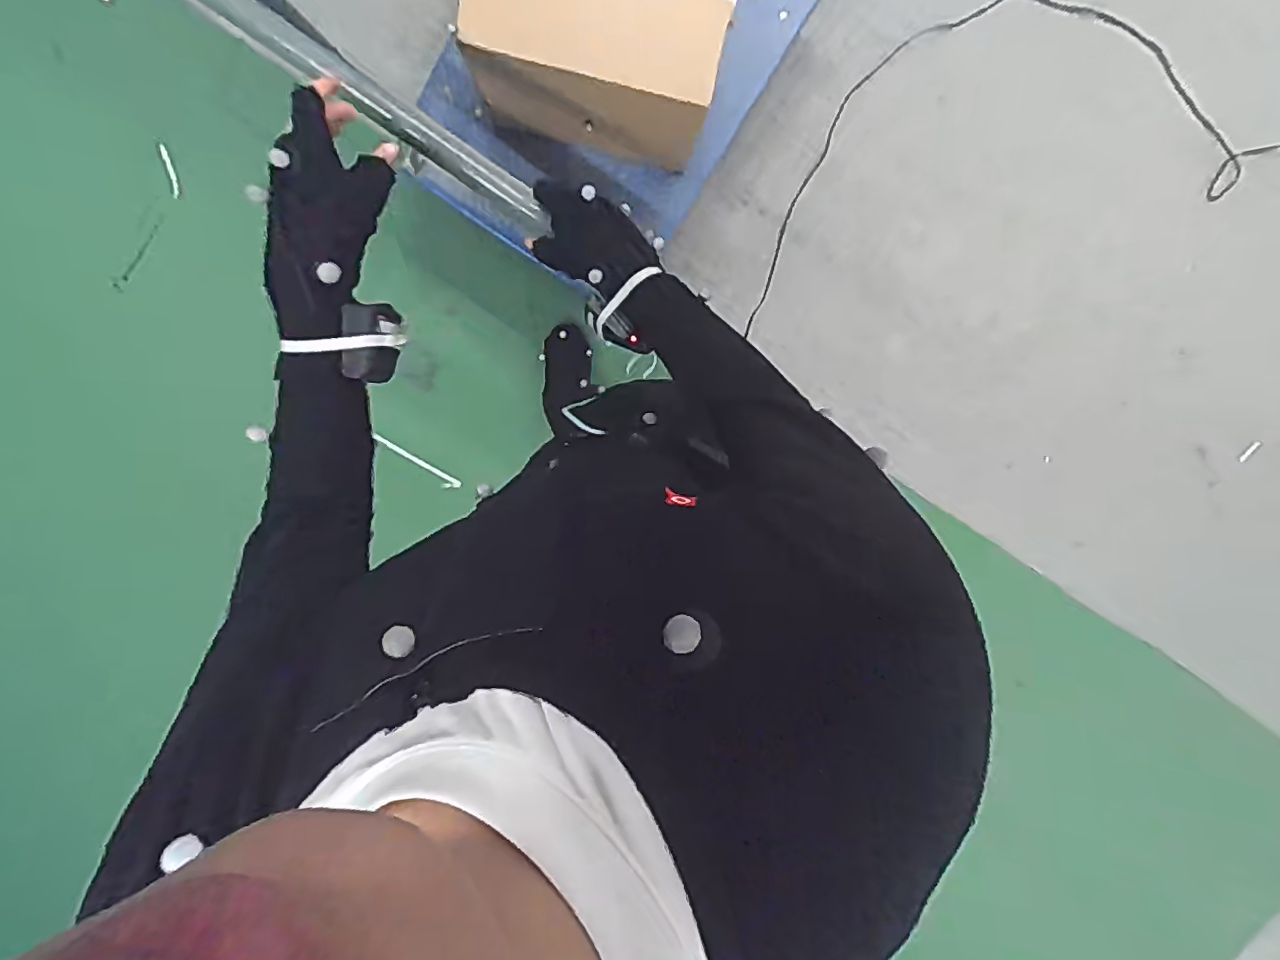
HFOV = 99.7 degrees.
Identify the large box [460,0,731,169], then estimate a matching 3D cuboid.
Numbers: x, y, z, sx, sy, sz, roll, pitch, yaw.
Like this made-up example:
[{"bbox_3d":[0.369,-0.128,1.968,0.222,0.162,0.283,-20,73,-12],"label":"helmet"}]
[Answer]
[{"bbox_3d":[-0.059,-0.804,0.960,0.408,0.320,0.320,12,101,-5],"label":"large box"}]
